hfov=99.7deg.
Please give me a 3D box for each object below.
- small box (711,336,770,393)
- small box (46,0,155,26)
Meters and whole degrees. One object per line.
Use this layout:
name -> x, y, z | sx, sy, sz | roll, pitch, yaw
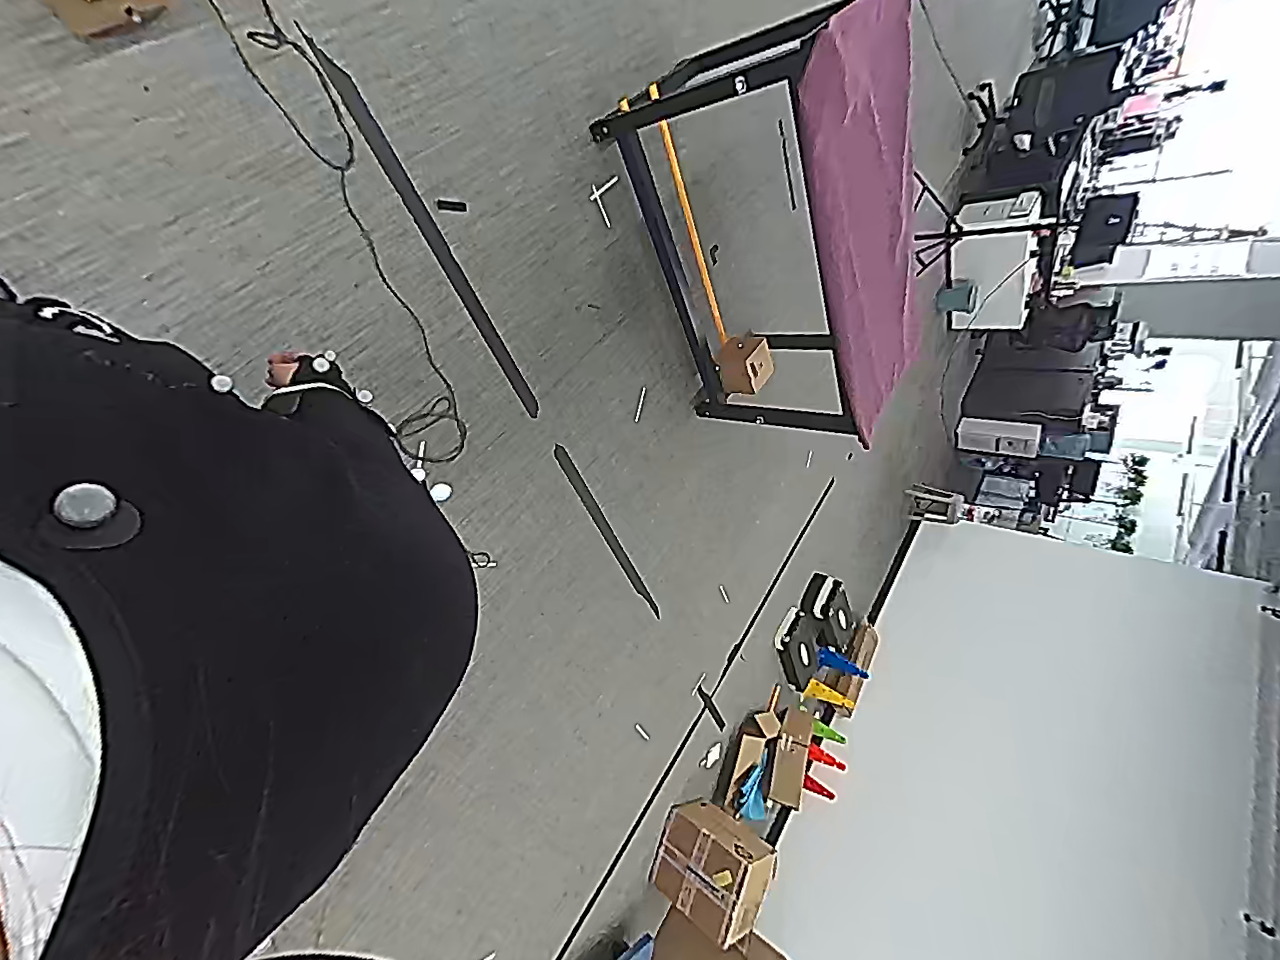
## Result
small box -> 0.410, -0.478, 2.235 | 0.179, 0.176, 0.168 | -51, 133, -28
small box -> -0.856, -0.835, 0.808 | 0.168, 0.176, 0.179 | -52, 135, -25
